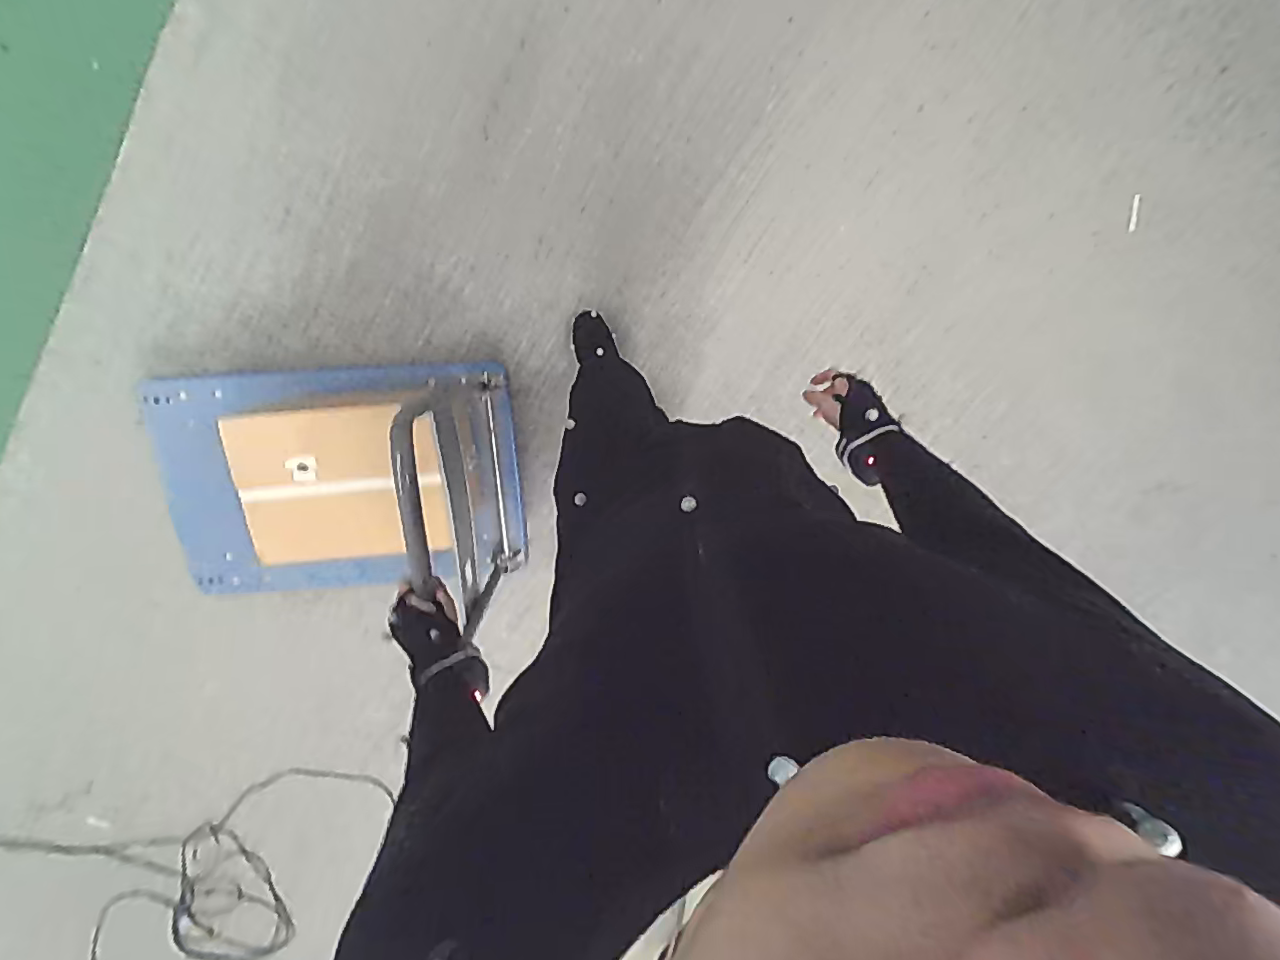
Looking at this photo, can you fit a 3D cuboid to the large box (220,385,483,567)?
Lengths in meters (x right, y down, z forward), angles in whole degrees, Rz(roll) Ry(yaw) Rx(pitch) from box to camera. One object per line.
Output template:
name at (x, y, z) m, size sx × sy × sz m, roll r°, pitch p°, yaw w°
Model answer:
large box at (-0.604, -0.028, 1.223) m, size 0.408 × 0.320 × 0.320 m, roll -5°, pitch 106°, yaw -4°
